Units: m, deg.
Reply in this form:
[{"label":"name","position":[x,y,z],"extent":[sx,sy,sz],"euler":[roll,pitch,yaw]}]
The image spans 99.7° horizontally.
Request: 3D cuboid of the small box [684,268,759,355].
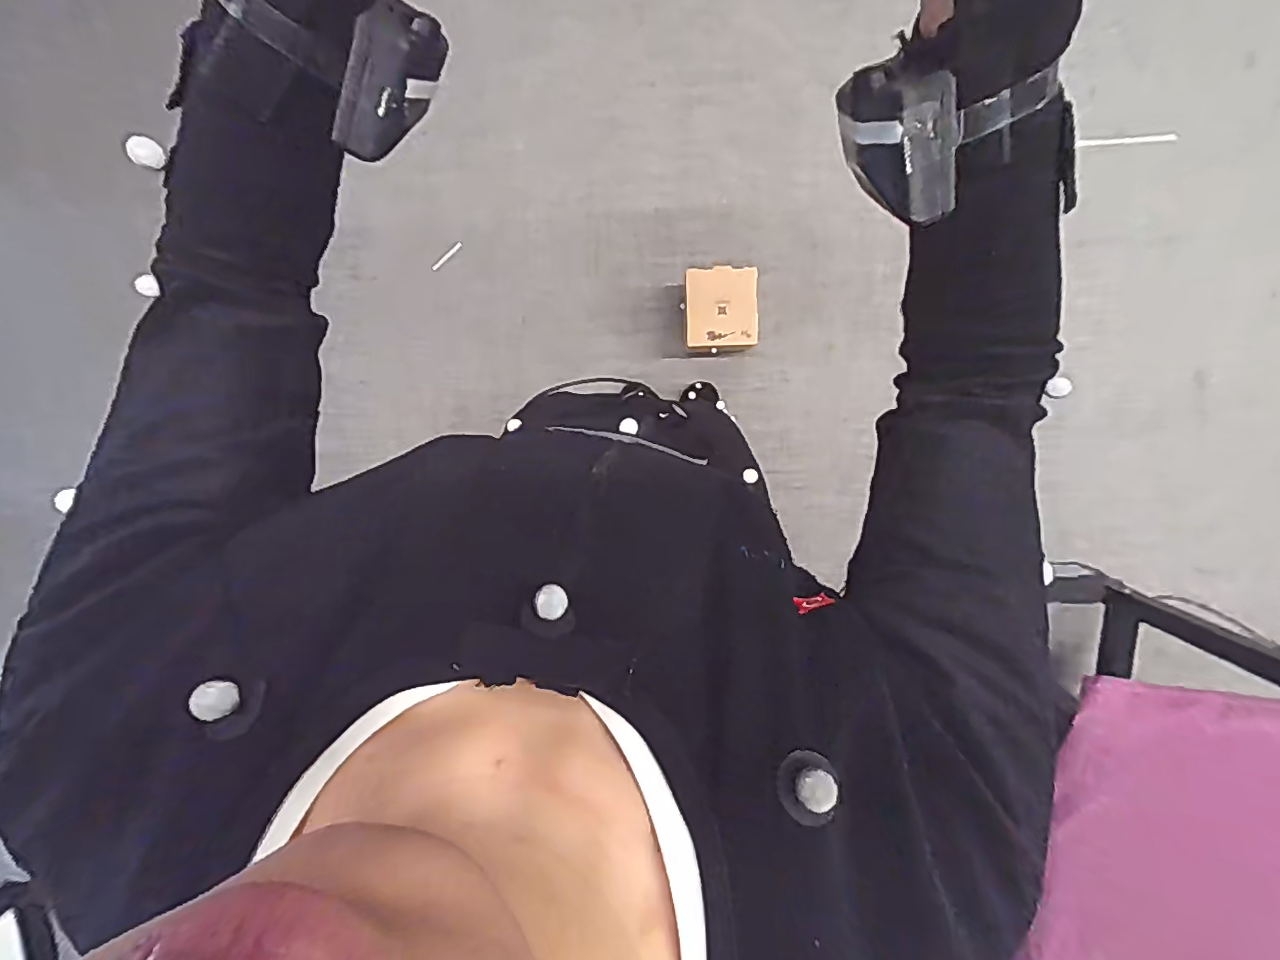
[{"label":"small box","position":[0.193,-0.406,1.325],"extent":[0.168,0.176,0.179],"euler":[-1,97,3]}]
